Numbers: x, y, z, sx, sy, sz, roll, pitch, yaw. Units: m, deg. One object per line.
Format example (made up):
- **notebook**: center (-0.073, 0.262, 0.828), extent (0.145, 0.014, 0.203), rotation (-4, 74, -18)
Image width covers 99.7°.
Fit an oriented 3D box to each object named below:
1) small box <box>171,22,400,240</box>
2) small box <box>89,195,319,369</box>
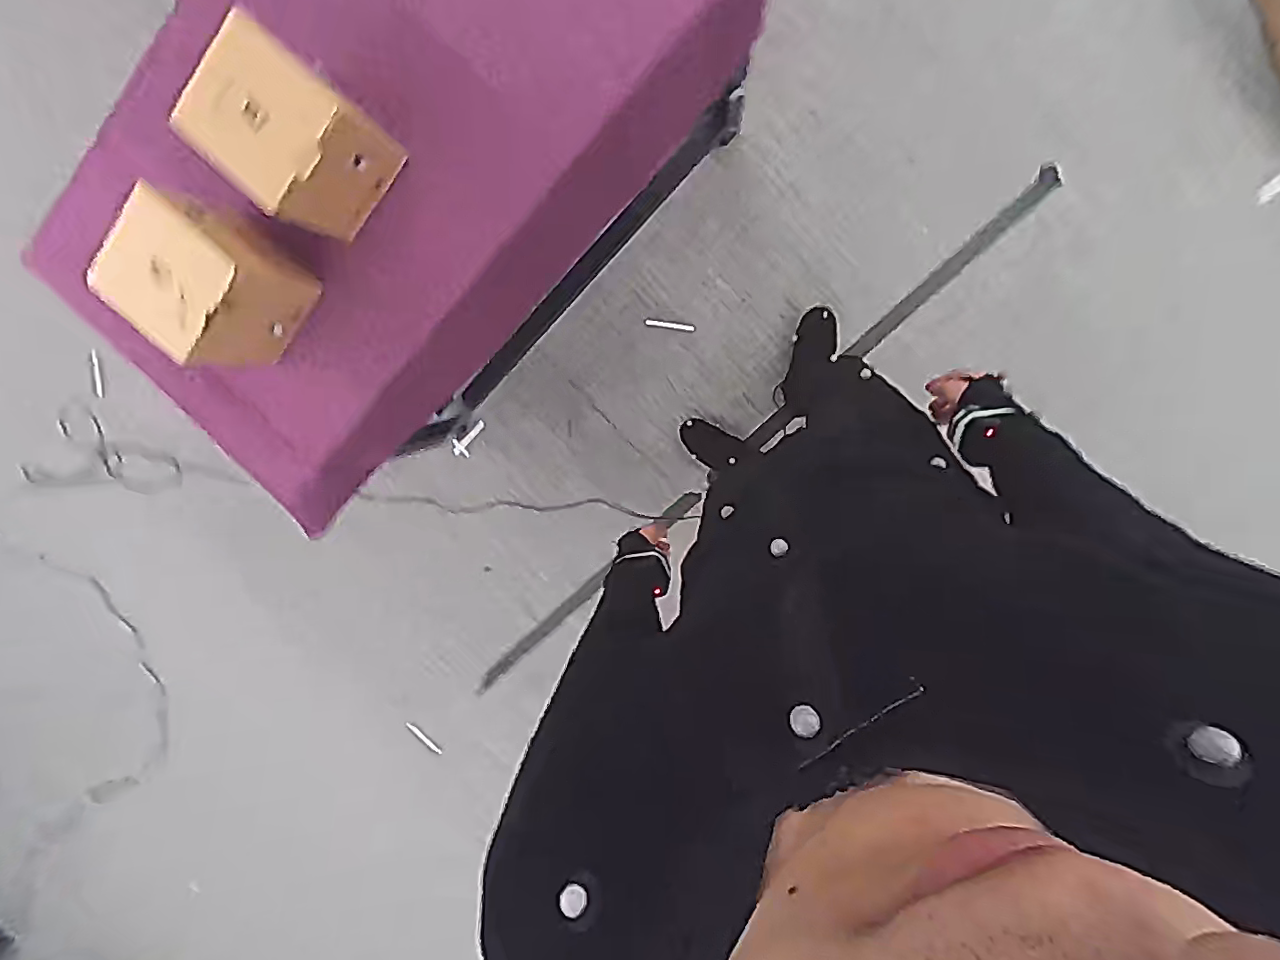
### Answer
- **small box**: center (-0.485, -0.470, 0.768), extent (0.179, 0.176, 0.168), rotation (42, 102, -3)
- **small box**: center (-0.644, -0.283, 0.819), extent (0.179, 0.176, 0.168), rotation (41, 103, -3)
